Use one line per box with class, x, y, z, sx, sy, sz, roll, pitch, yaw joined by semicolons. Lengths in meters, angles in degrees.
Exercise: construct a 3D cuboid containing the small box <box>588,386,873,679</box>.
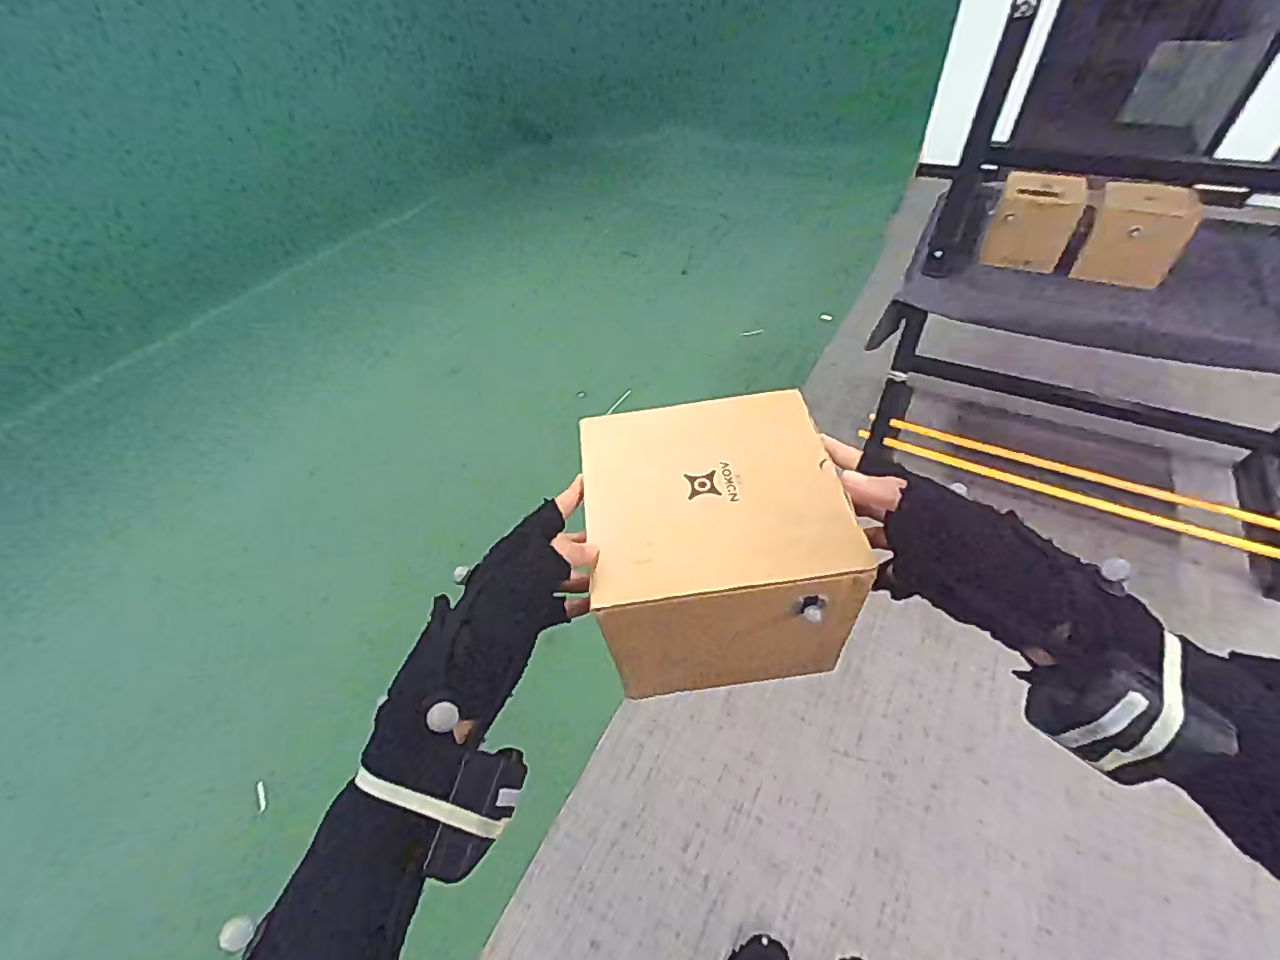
small box;0.060;0.049;0.445;0.179;0.176;0.168;-8;51;0
